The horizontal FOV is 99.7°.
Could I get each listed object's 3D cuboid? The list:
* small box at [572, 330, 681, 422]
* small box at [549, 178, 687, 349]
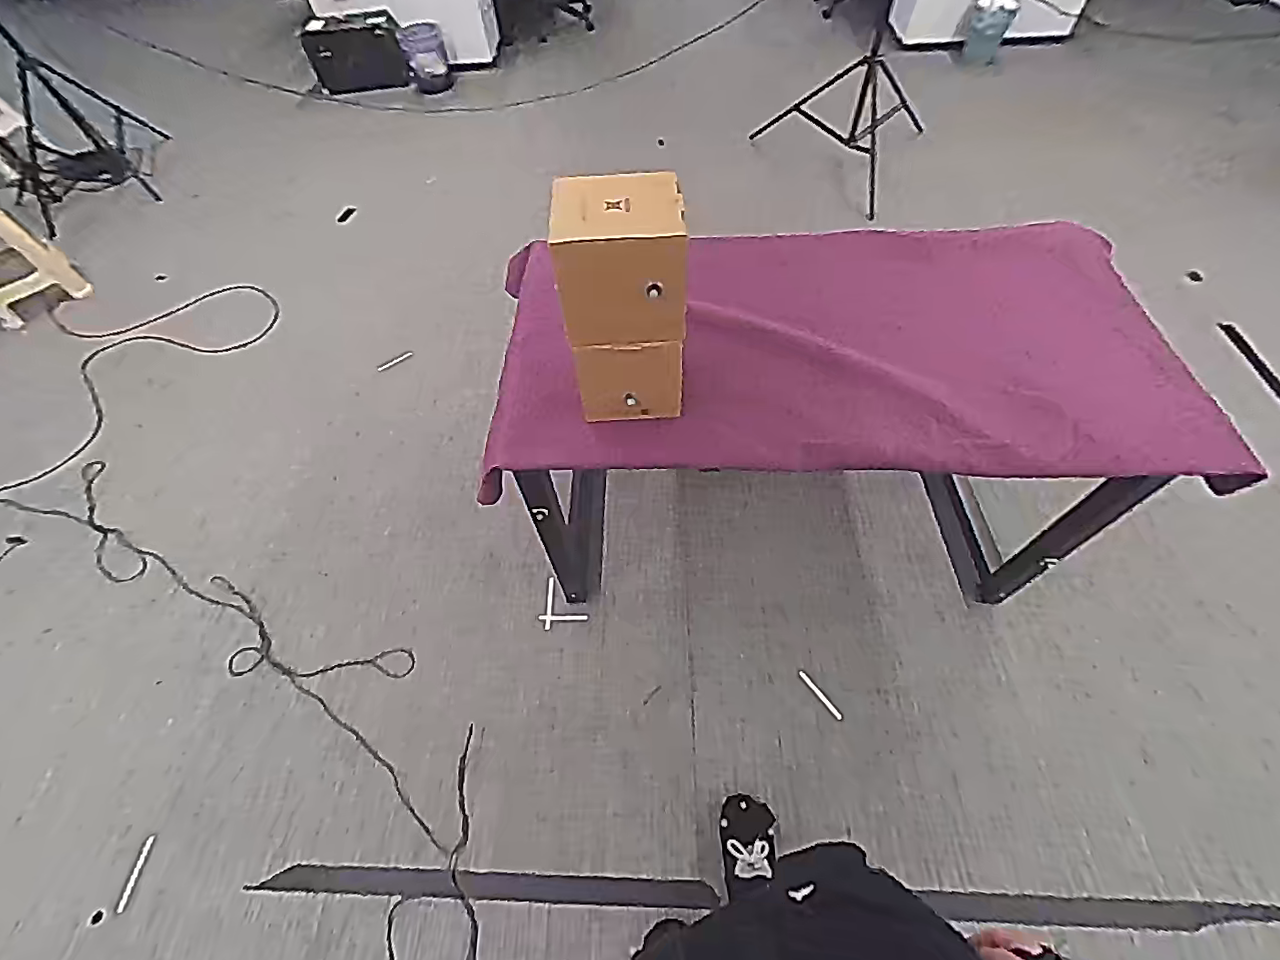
[{"bbox_3d":[-0.019,-0.218,0.922,0.168,0.176,0.179,-3,56,1],"label":"small box"},{"bbox_3d":[-0.028,-0.310,0.788,0.179,0.176,0.168,-4,54,1],"label":"small box"}]
